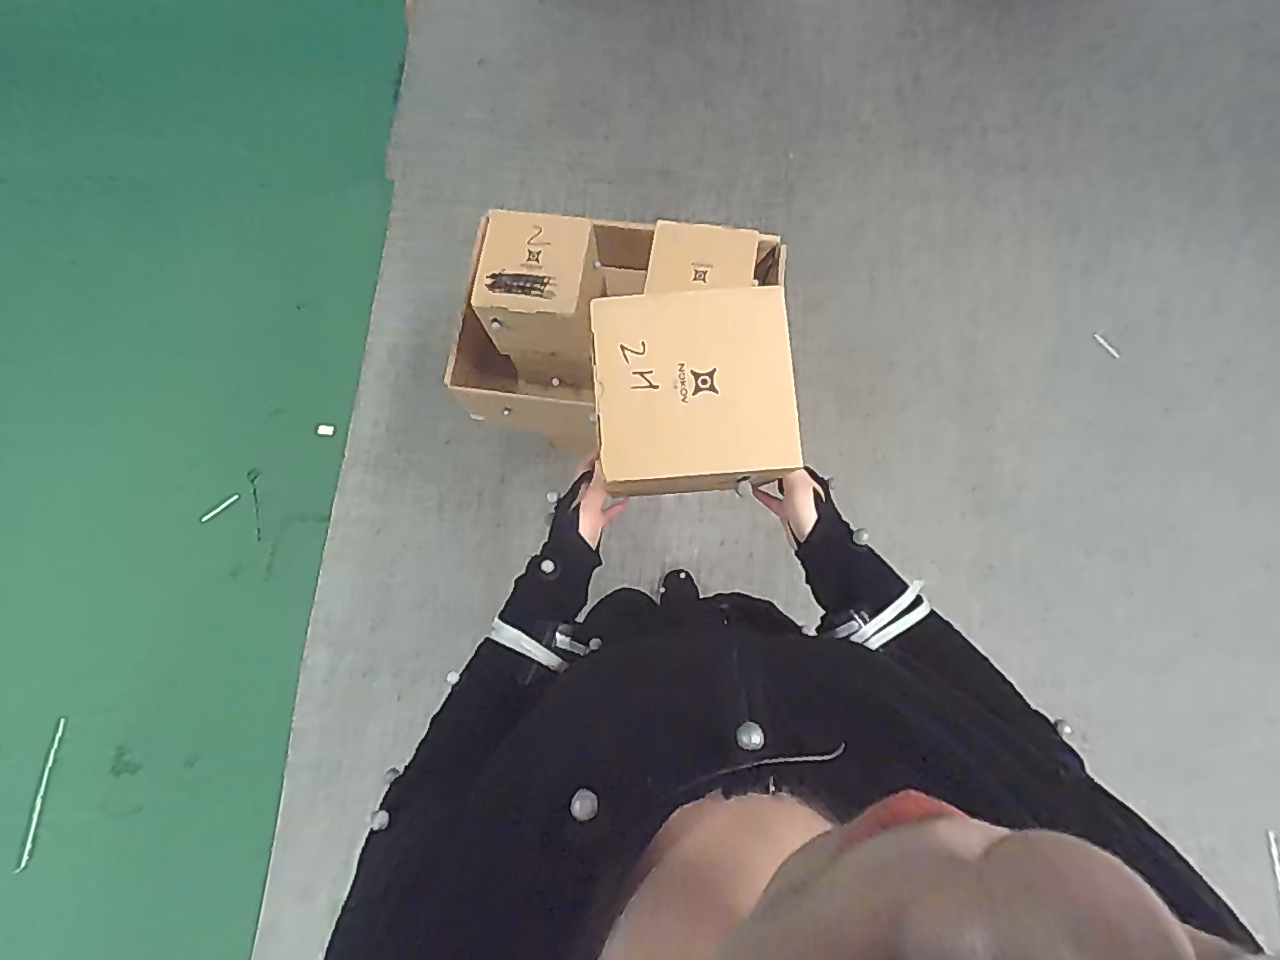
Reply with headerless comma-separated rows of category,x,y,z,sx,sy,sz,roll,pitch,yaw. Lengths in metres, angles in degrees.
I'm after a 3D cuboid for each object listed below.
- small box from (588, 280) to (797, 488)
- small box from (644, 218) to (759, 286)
small box,0.045,-0.084,0.549,0.179,0.176,0.168,-4,83,1
small box,0.095,-0.304,0.912,0.168,0.176,0.179,9,79,5
